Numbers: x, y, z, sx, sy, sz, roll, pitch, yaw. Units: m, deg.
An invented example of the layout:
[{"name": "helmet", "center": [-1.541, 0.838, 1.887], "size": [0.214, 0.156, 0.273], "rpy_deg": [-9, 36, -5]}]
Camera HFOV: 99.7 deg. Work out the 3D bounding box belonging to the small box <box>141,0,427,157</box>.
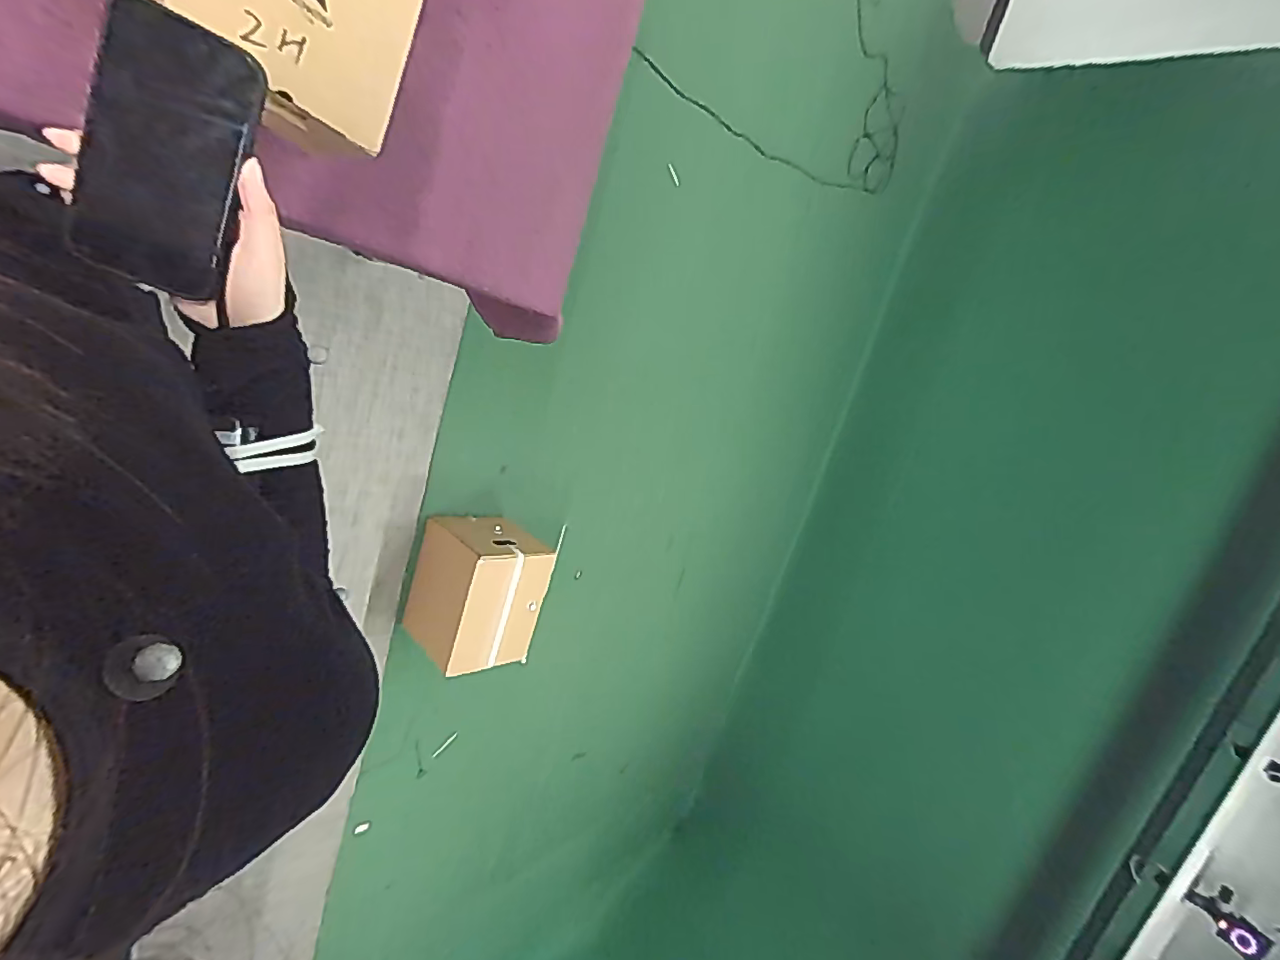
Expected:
[{"name": "small box", "center": [-0.329, -0.433, 0.501], "size": [0.168, 0.176, 0.179], "rpy_deg": [11, 102, -51]}]
